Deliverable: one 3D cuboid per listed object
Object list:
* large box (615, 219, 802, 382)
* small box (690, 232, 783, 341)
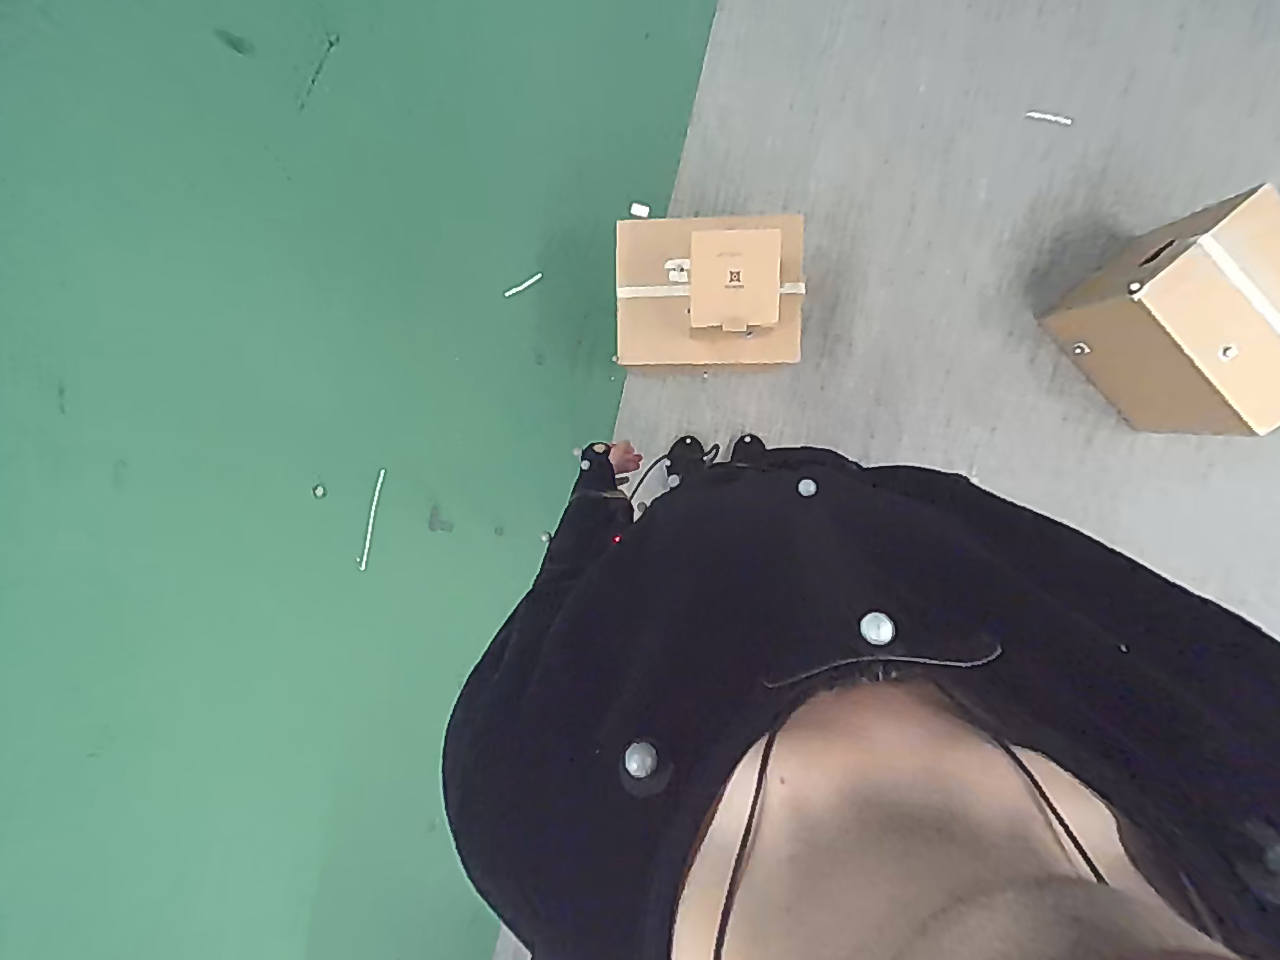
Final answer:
[{"bbox_3d":[0.164,-0.409,1.316,0.408,0.320,0.320,0,94,6],"label":"large box"},{"bbox_3d":[0.184,-0.372,1.070,0.168,0.176,0.179,1,96,5],"label":"small box"}]
